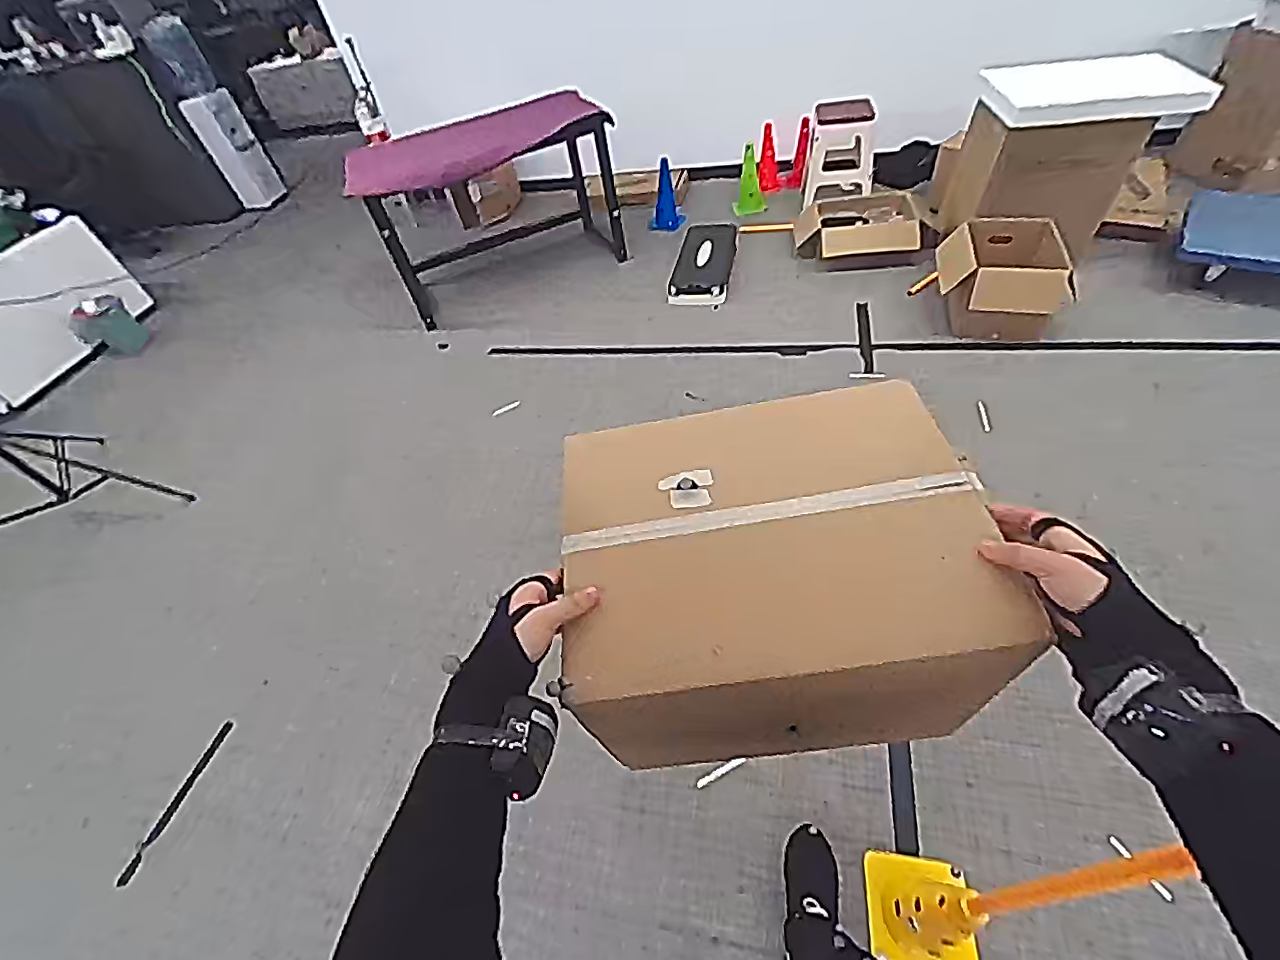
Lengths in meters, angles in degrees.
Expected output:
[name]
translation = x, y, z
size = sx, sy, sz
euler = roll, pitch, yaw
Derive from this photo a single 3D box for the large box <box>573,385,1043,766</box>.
[large box]
translation = 0.155, 0.134, 0.663
size = 0.408, 0.320, 0.320
euler = -10, 50, 6
